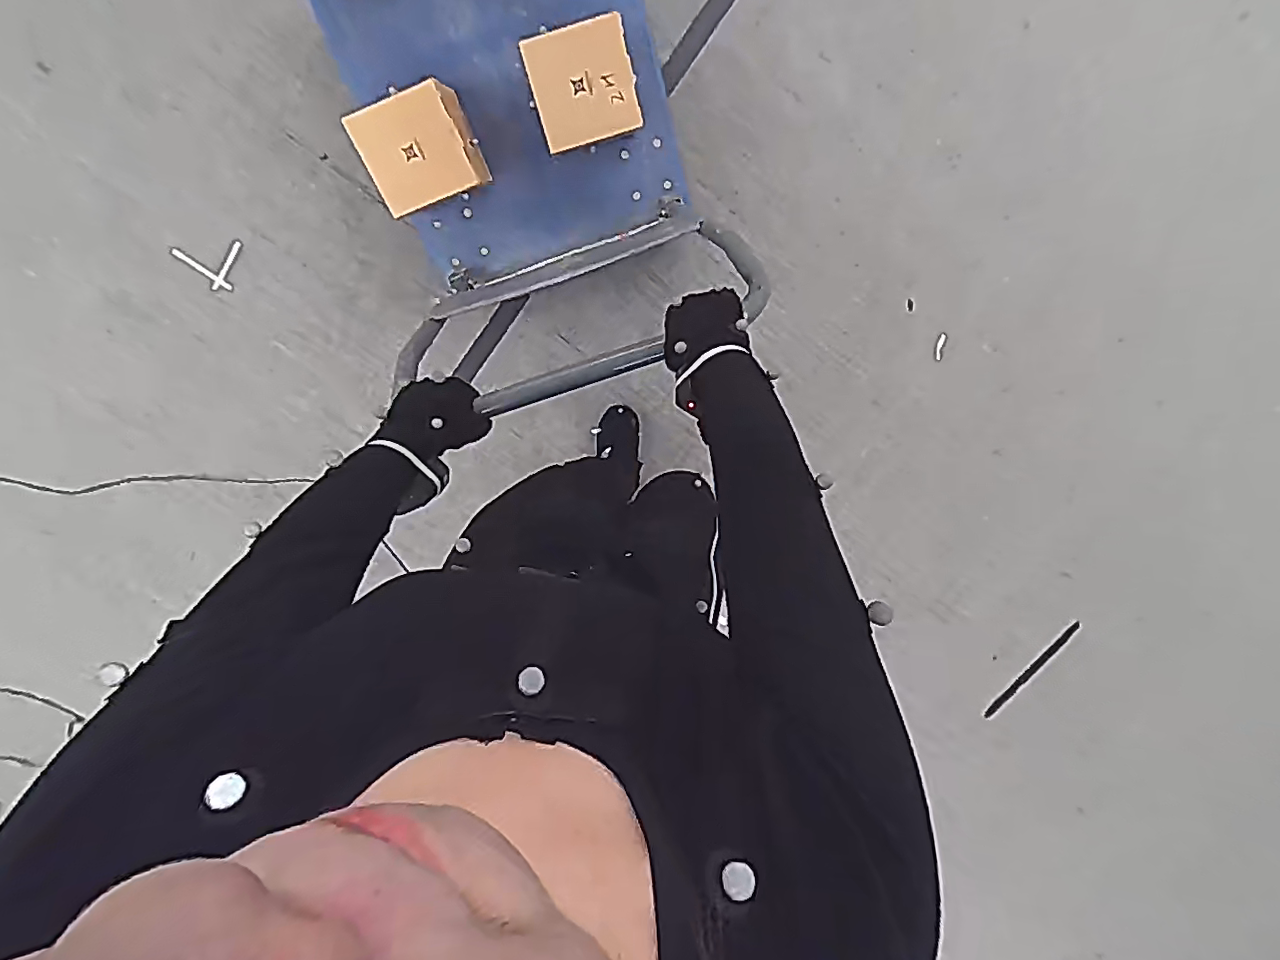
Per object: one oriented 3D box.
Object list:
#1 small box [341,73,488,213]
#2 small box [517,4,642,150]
[{"bbox_3d":[-0.404,-0.615,1.006,0.179,0.176,0.168,-21,119,4],"label":"small box"},{"bbox_3d":[-0.104,-0.715,0.982,0.179,0.176,0.168,-16,120,3],"label":"small box"}]
